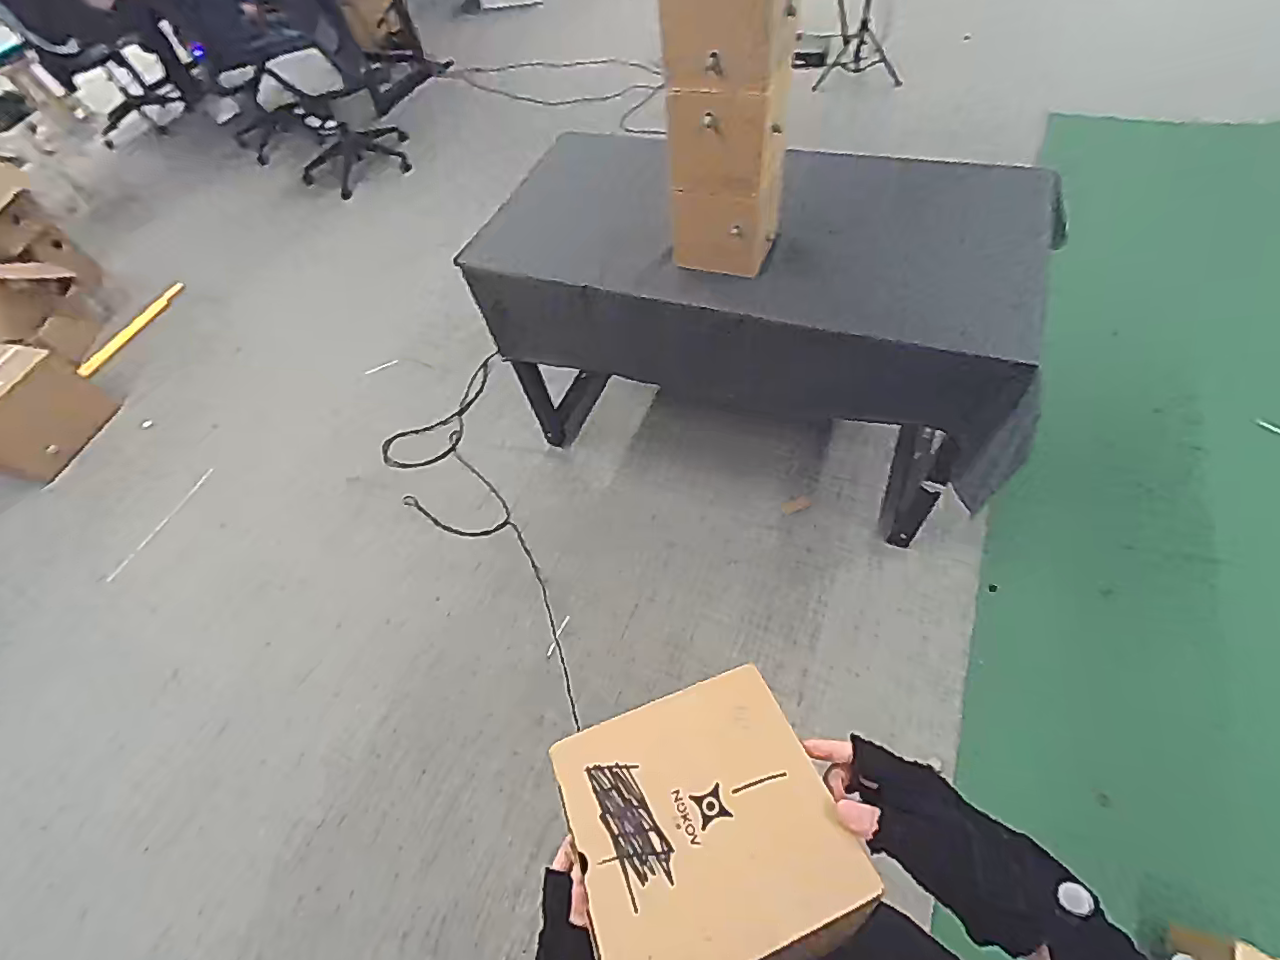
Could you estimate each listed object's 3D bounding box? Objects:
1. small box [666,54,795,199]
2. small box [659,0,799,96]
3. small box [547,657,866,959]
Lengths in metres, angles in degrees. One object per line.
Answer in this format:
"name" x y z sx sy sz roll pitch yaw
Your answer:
"small box" 0.161 -0.628 0.963 0.179 0.176 0.168 16 61 18
"small box" 0.142 -0.722 0.830 0.179 0.176 0.168 18 61 18
"small box" 0.043 0.279 0.425 0.179 0.176 0.168 -17 43 -11
